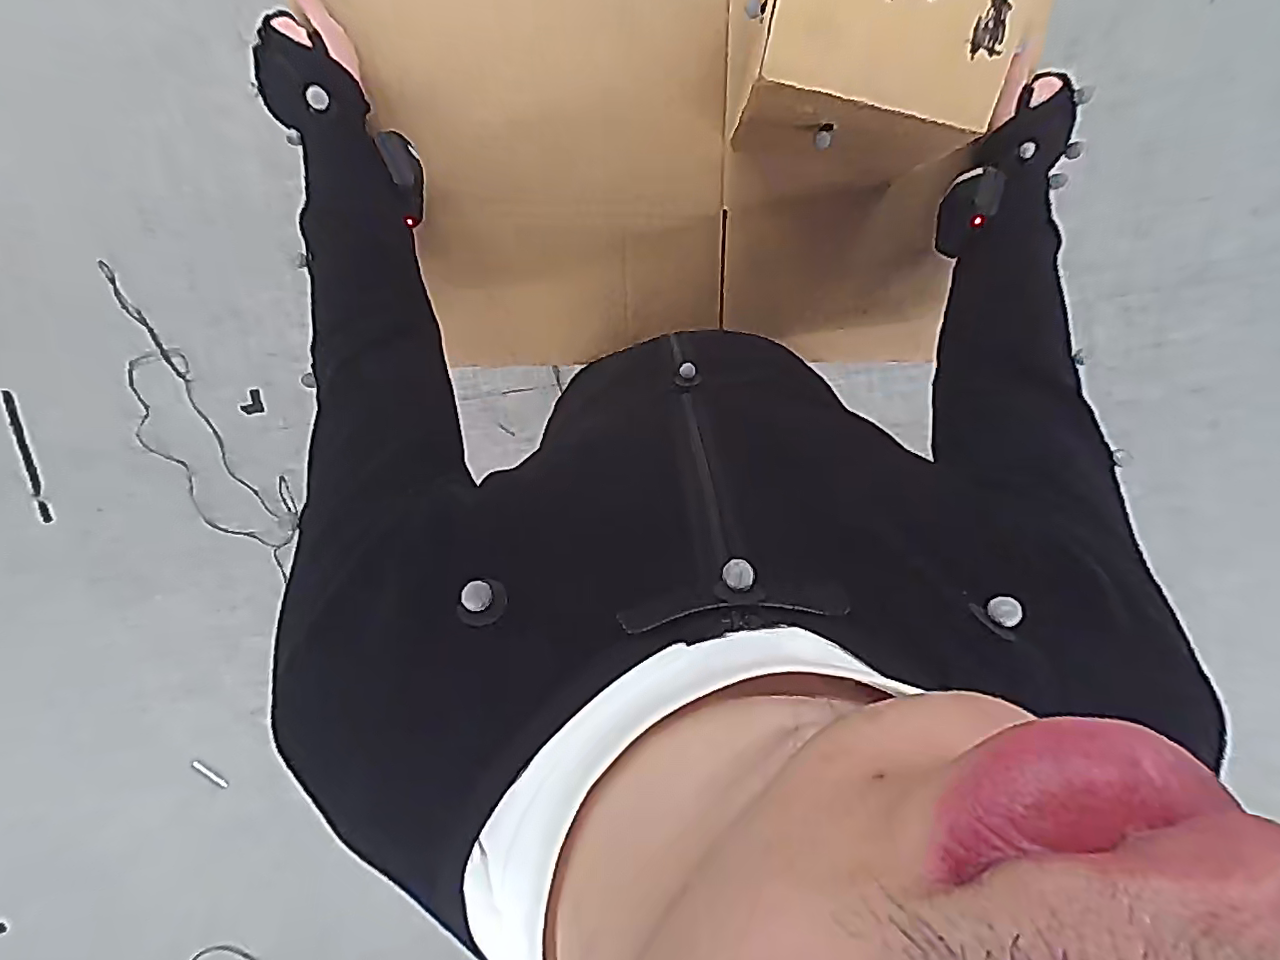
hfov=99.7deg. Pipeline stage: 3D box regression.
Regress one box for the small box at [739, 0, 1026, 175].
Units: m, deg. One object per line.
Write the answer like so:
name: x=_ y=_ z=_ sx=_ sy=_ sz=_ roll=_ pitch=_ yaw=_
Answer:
small box: x=0.192 y=-0.379 z=0.455 sx=0.179 sy=0.176 sz=0.168 roll=13 pitch=108 yaw=-1
